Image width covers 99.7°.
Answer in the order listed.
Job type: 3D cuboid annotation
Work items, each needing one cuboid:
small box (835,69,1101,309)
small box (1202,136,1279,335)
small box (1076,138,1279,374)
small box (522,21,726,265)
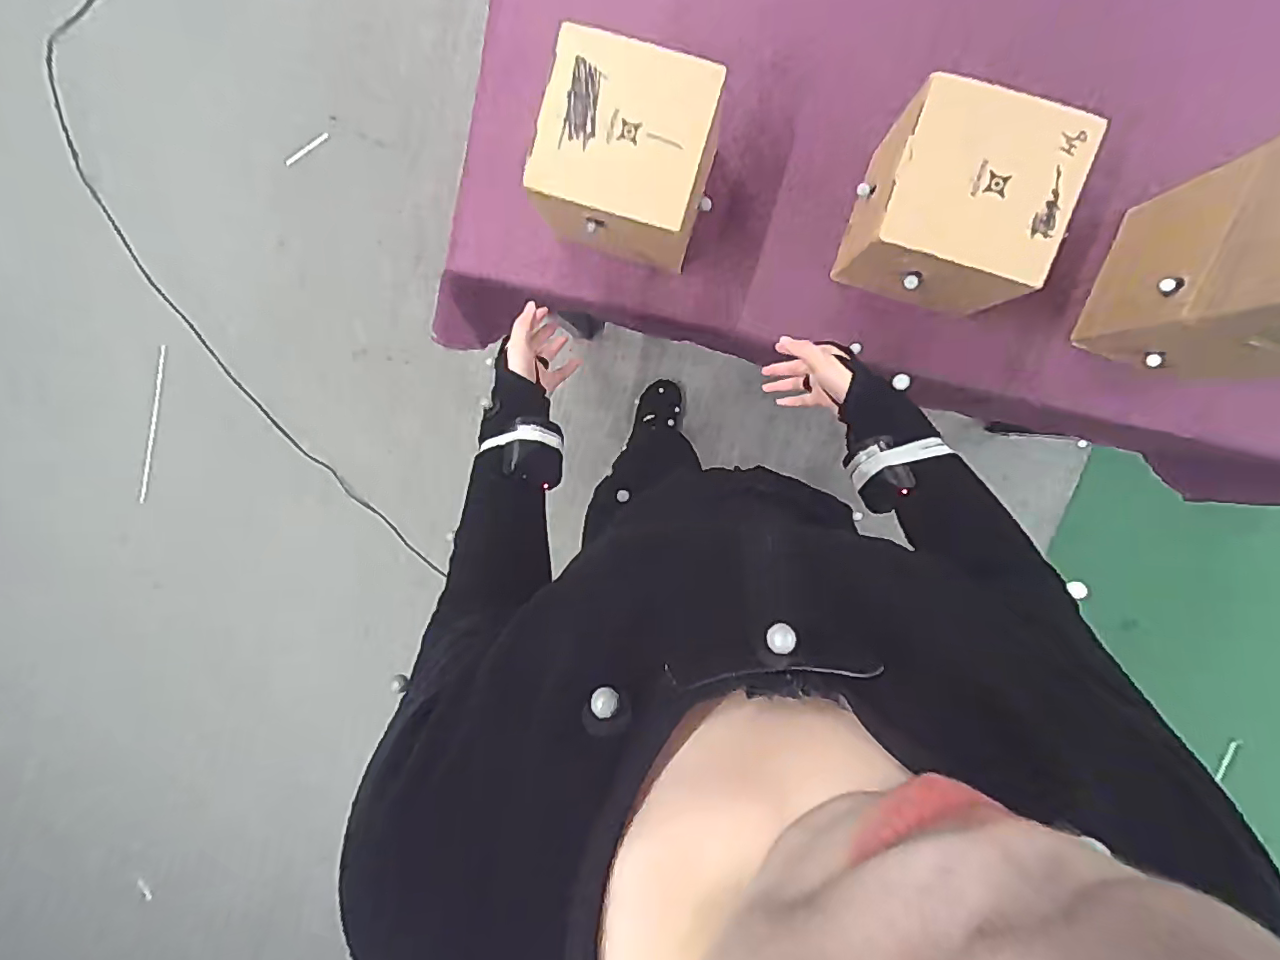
[{"bbox_3d":[0.346,-0.309,0.613,0.179,0.176,0.168,18,98,3],"label":"small box"},{"bbox_3d":[0.634,-0.207,0.438,0.168,0.176,0.179,18,98,2],"label":"small box"},{"bbox_3d":[0.646,-0.228,0.601,0.168,0.176,0.179,19,99,2],"label":"small box"},{"bbox_3d":[-0.015,-0.372,0.634,0.179,0.176,0.168,17,98,1],"label":"small box"}]
